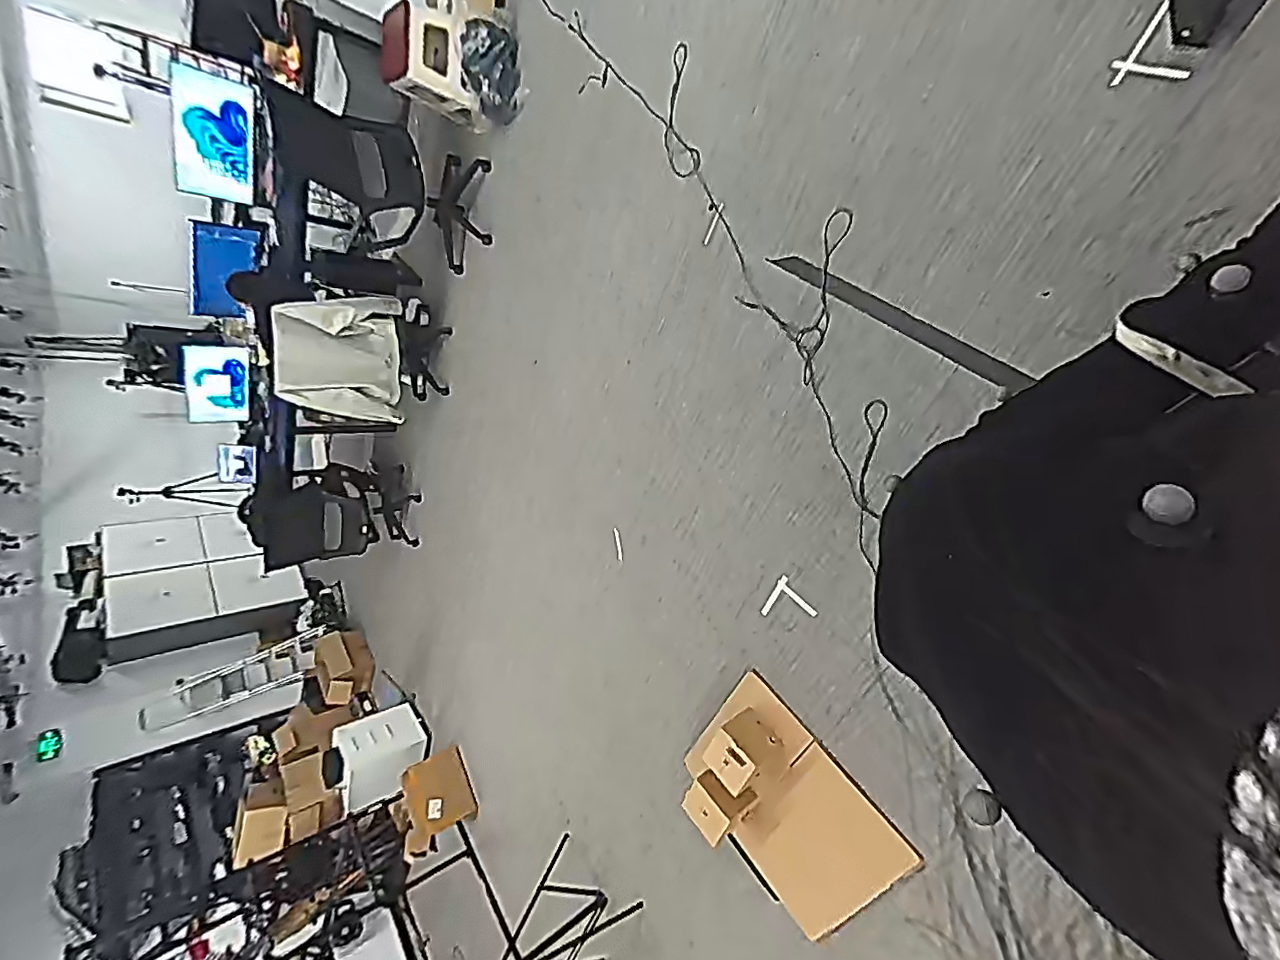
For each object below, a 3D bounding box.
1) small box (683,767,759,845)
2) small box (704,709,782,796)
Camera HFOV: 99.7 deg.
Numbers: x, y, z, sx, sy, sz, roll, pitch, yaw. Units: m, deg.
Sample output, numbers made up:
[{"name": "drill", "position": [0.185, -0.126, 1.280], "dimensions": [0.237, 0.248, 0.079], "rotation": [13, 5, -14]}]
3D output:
[{"name": "small box", "position": [0.293, 1.150, 1.946], "dimensions": [0.179, 0.176, 0.168], "rotation": [39, 123, 36]}, {"name": "small box", "position": [0.355, 0.919, 1.843], "dimensions": [0.168, 0.176, 0.179], "rotation": [42, 124, 35]}]
